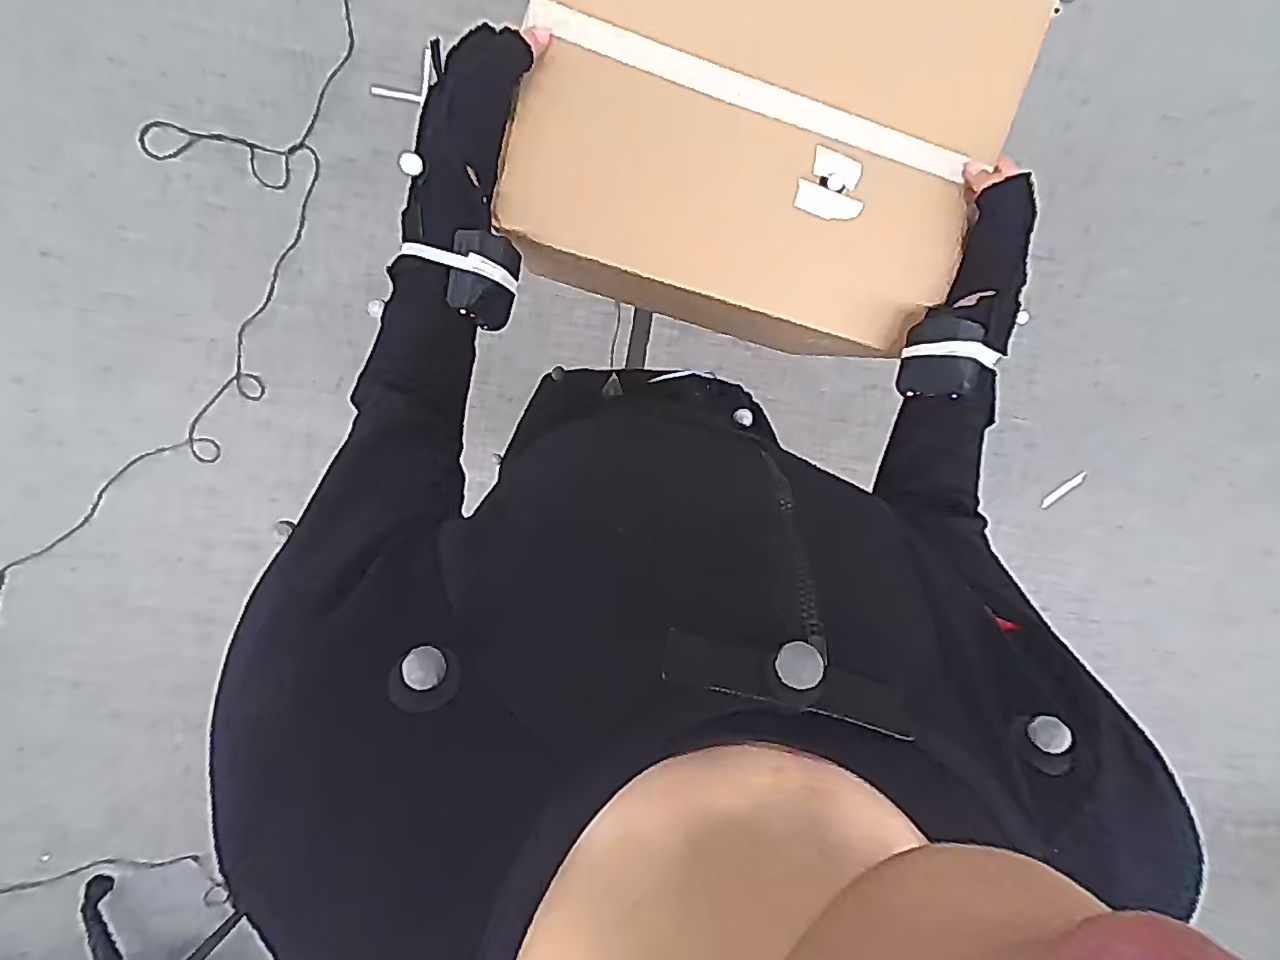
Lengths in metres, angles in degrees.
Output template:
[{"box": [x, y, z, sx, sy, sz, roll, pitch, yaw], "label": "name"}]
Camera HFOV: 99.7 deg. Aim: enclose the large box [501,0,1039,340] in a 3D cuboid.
[{"box": [0.092, -0.355, 0.592, 0.408, 0.320, 0.320, 14, 104, -10], "label": "large box"}]
